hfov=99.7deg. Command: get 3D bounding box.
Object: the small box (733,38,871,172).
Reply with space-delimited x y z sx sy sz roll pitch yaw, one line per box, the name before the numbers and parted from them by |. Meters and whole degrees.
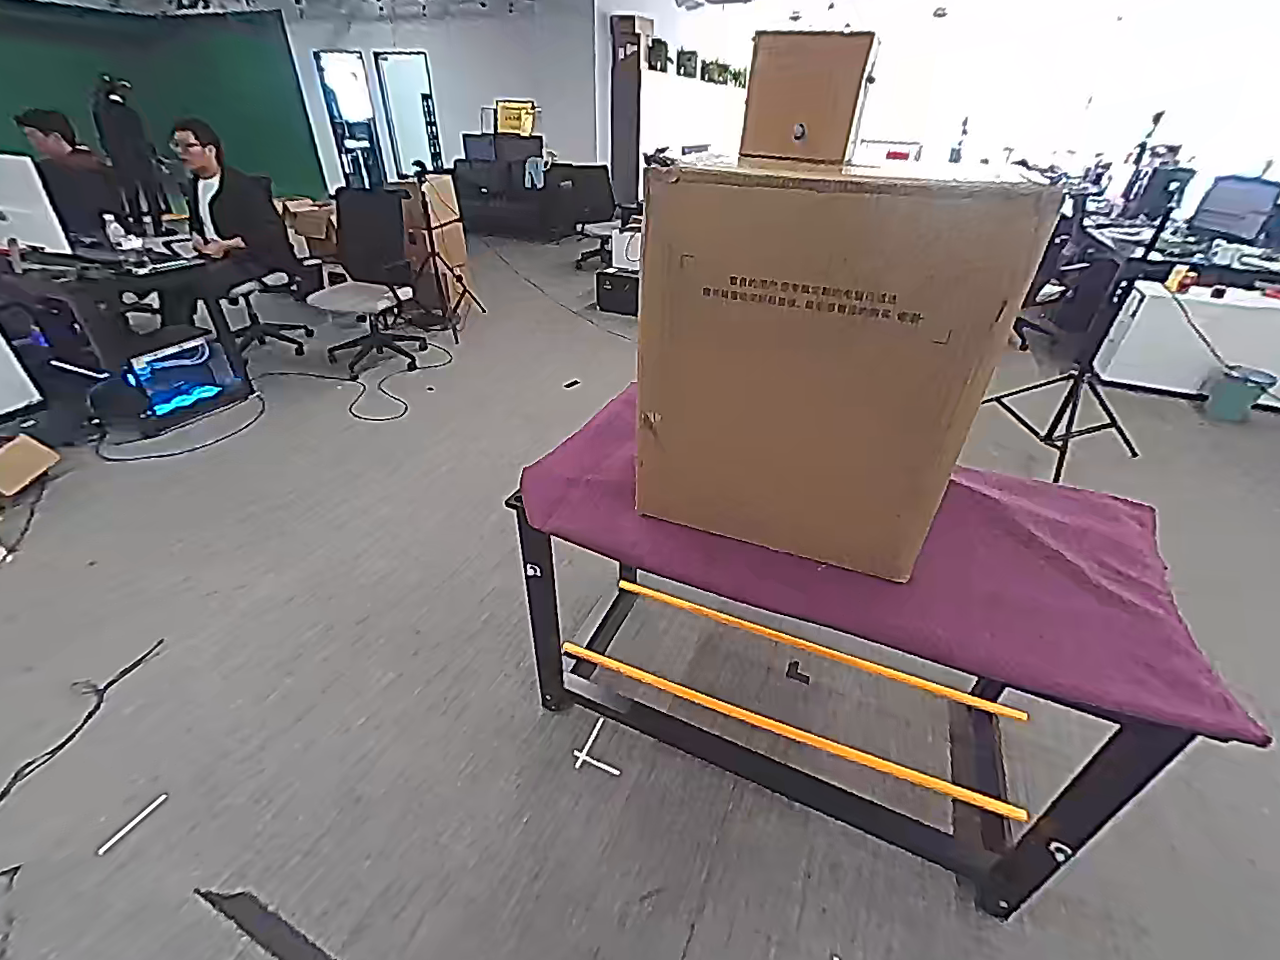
small box | 0.270 -0.622 0.906 0.179 0.176 0.168 15 36 18
